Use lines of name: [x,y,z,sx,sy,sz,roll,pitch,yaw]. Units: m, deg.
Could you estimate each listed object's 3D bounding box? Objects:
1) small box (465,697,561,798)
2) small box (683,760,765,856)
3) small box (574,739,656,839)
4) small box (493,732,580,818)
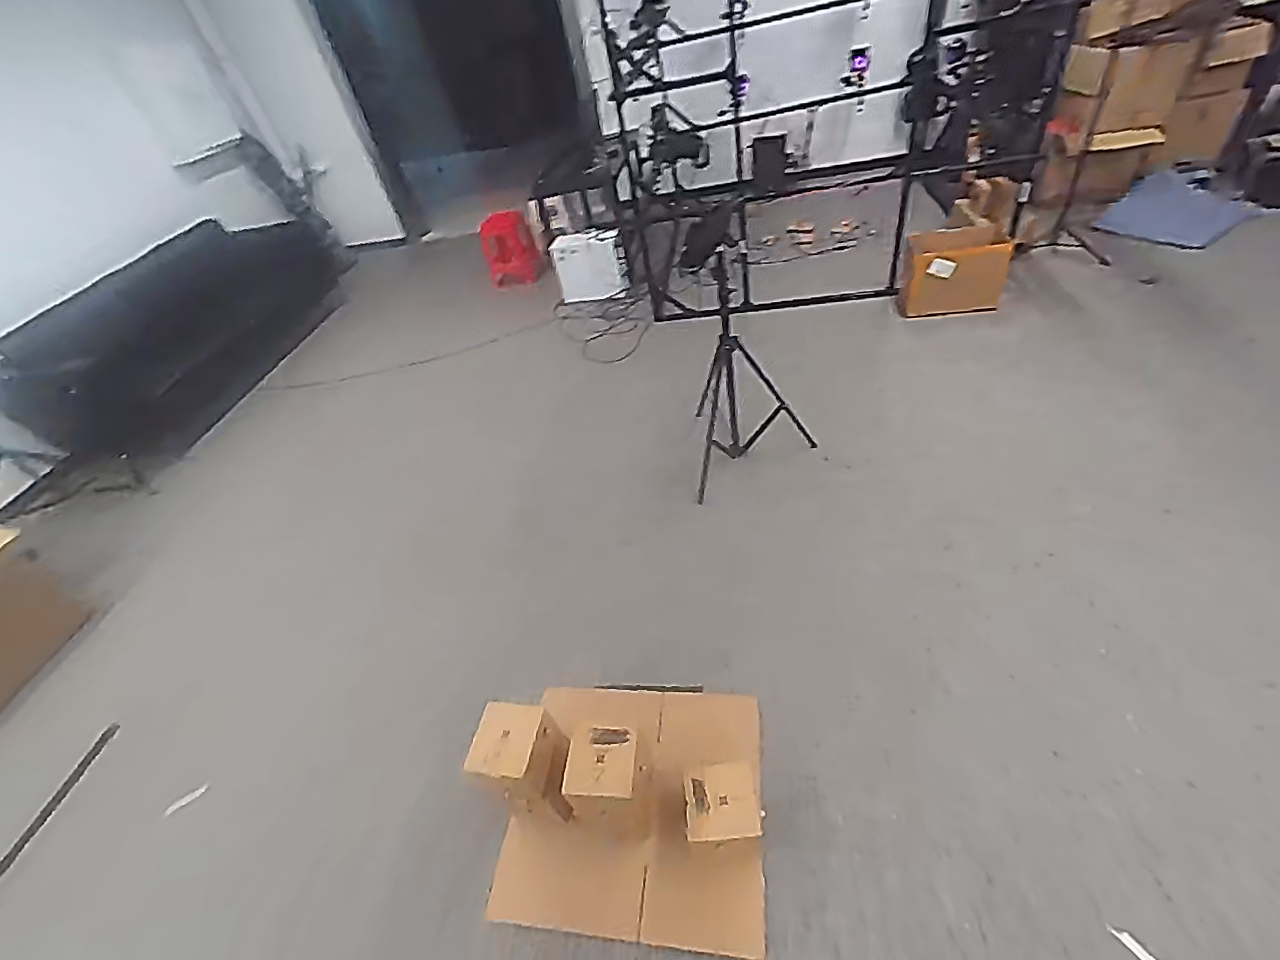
small box: [-0.317,0.690,1.395,0.168,0.176,0.179,-1,44,16]
small box: [0.210,0.824,1.352,0.179,0.176,0.168,-8,43,7]
small box: [-0.057,0.818,1.434,0.168,0.176,0.179,0,44,15]
small box: [-0.277,0.812,1.499,0.168,0.176,0.179,-1,45,15]
